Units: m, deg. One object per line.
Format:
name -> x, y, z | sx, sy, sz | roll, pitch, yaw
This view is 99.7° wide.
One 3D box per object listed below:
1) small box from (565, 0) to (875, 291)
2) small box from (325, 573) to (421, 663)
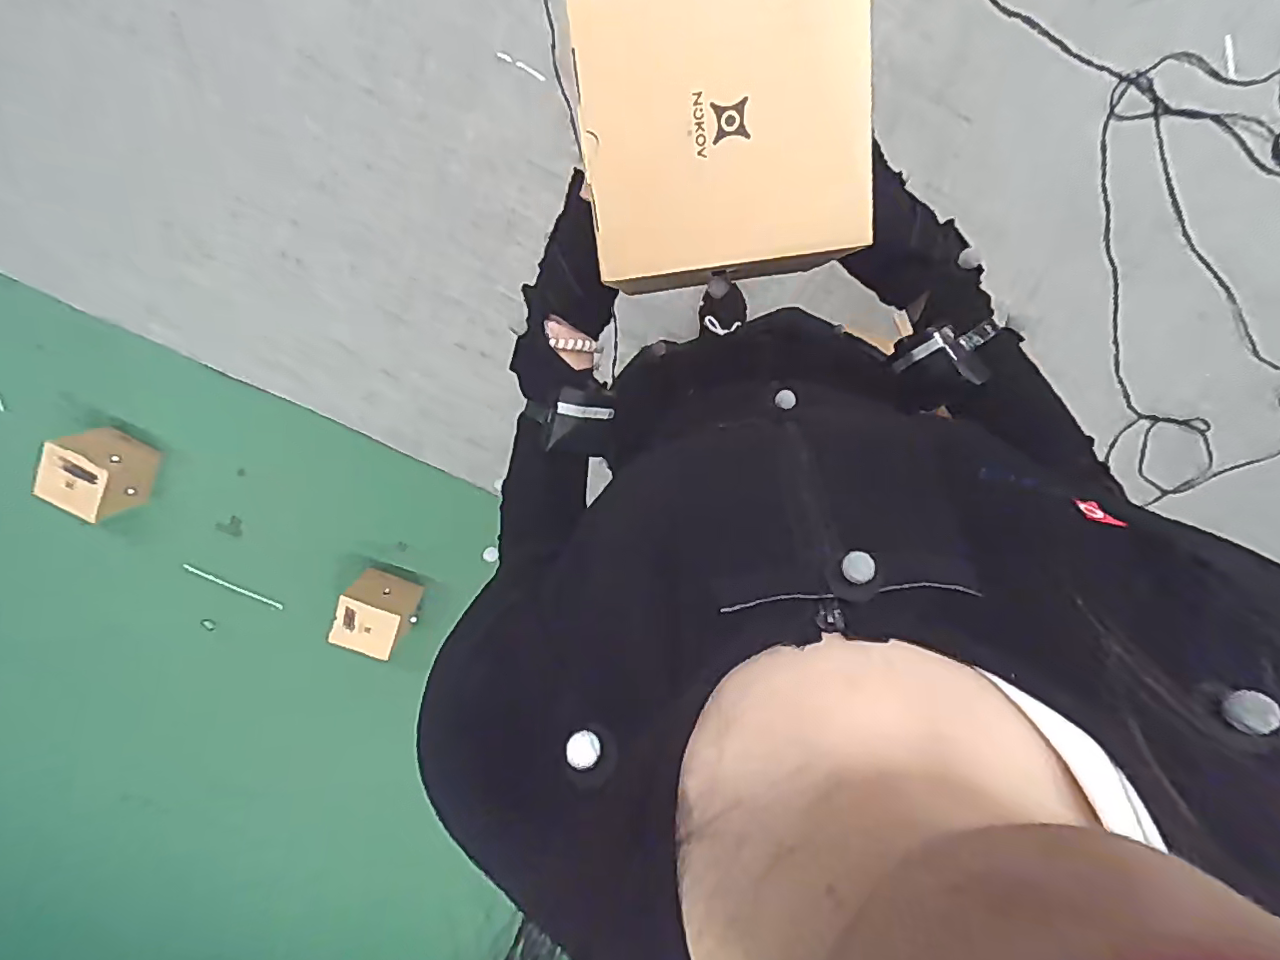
small box -> 0.057, -0.237, 0.400 | 0.179, 0.176, 0.168 | -5, 106, 8
small box -> -0.775, 0.395, 1.581 | 0.179, 0.176, 0.168 | 22, 107, -7
